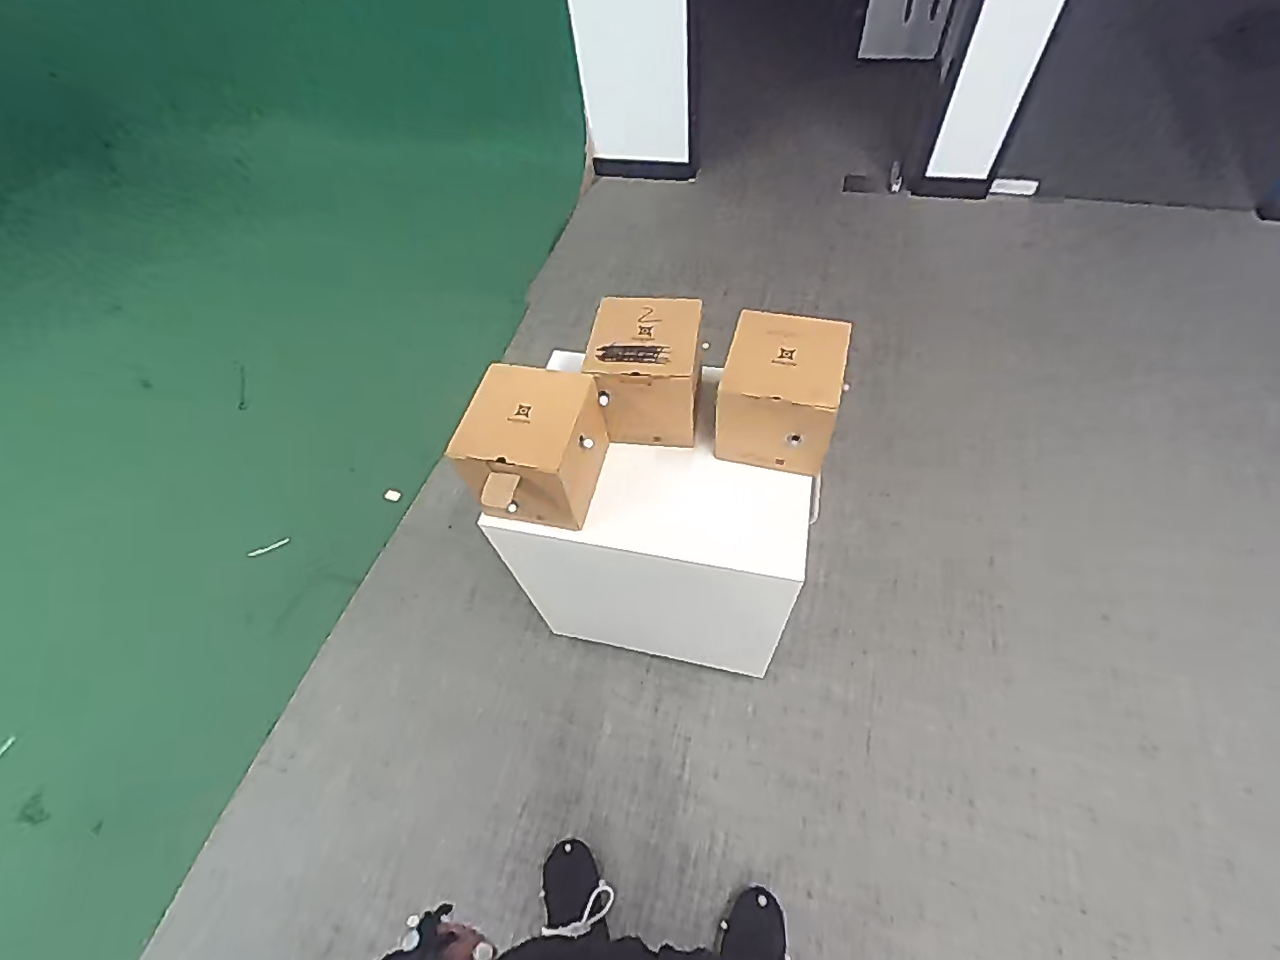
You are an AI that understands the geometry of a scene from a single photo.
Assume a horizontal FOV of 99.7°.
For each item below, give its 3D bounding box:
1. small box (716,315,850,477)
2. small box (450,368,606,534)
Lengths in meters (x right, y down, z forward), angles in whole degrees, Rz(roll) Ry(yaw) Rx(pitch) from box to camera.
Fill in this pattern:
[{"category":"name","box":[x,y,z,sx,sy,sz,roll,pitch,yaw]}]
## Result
[{"category":"small box","box":[0.217,-0.127,0.844,0.168,0.176,0.179,12,58,13]},{"category":"small box","box":[-0.154,-0.042,0.824,0.168,0.176,0.179,9,57,12]}]
